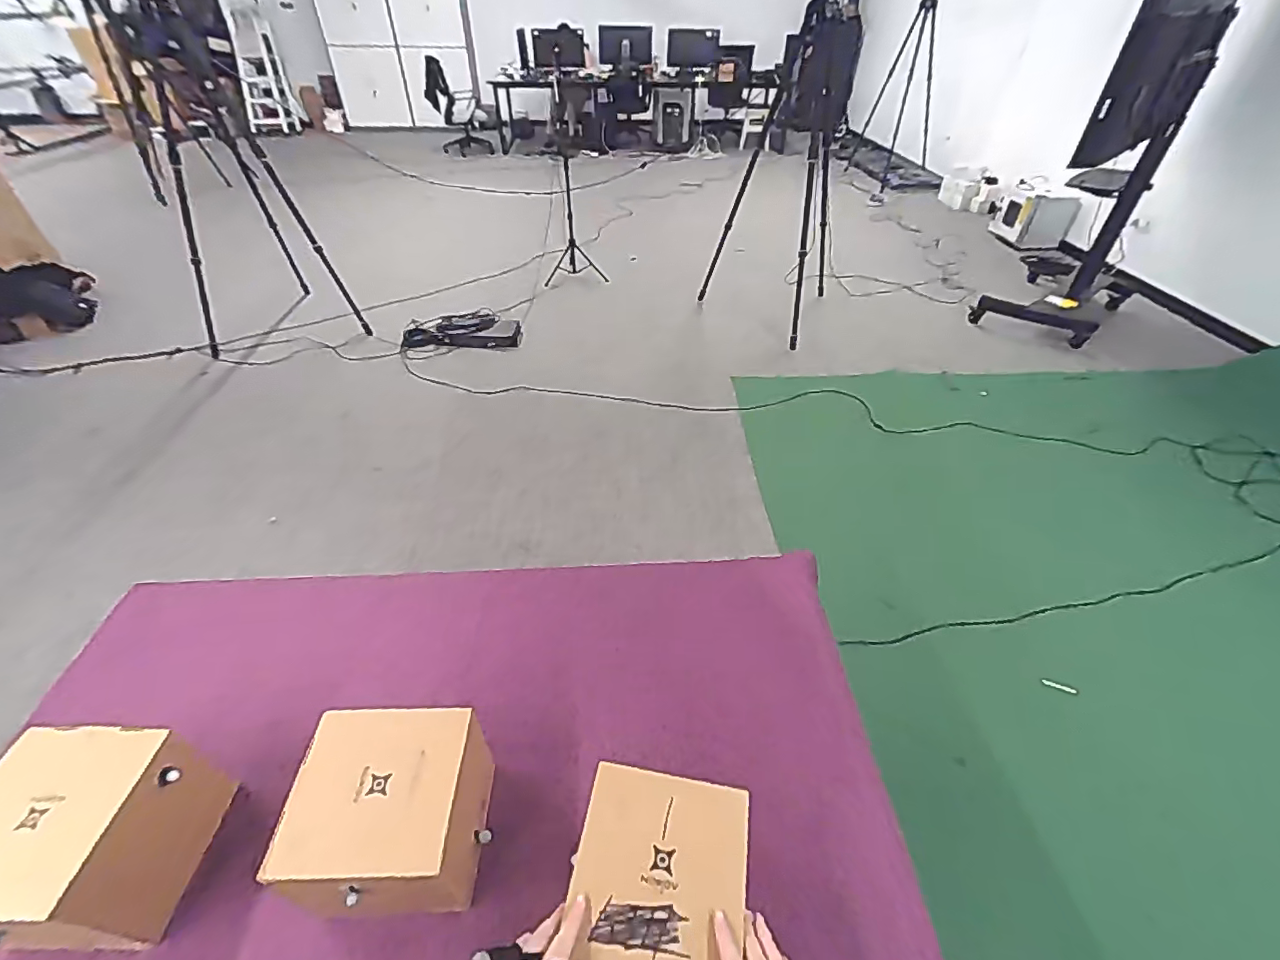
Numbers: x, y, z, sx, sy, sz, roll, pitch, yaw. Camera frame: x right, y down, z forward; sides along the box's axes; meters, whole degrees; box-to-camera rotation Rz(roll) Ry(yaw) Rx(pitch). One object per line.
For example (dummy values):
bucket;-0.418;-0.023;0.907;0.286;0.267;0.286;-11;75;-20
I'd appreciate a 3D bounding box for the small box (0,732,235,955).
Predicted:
small box;-0.613;0.409;0.610;0.168;0.176;0.179;0;40;1

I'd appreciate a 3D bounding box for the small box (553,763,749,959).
small box;0.020;0.437;0.571;0.168;0.176;0.179;7;41;8

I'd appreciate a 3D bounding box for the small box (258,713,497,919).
small box;-0.280;0.391;0.628;0.179;0.176;0.168;-1;42;-1
